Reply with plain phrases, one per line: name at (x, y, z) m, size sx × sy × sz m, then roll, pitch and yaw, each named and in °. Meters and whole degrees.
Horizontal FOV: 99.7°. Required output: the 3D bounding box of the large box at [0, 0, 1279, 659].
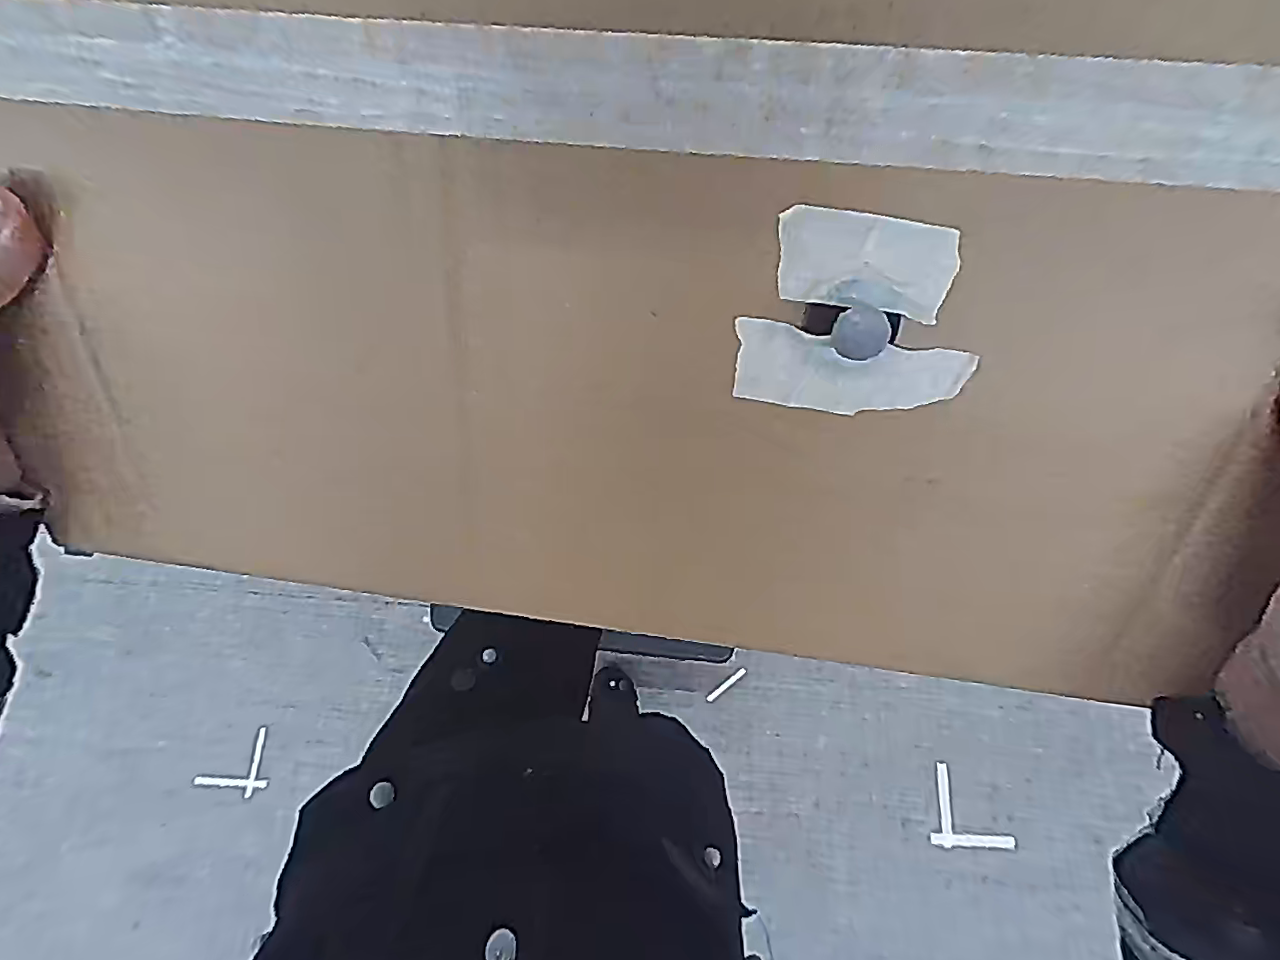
large box at (0.011, -0.156, 0.270) m, size 0.408 × 0.320 × 0.320 m, roll 6°, pitch 116°, yaw 4°
